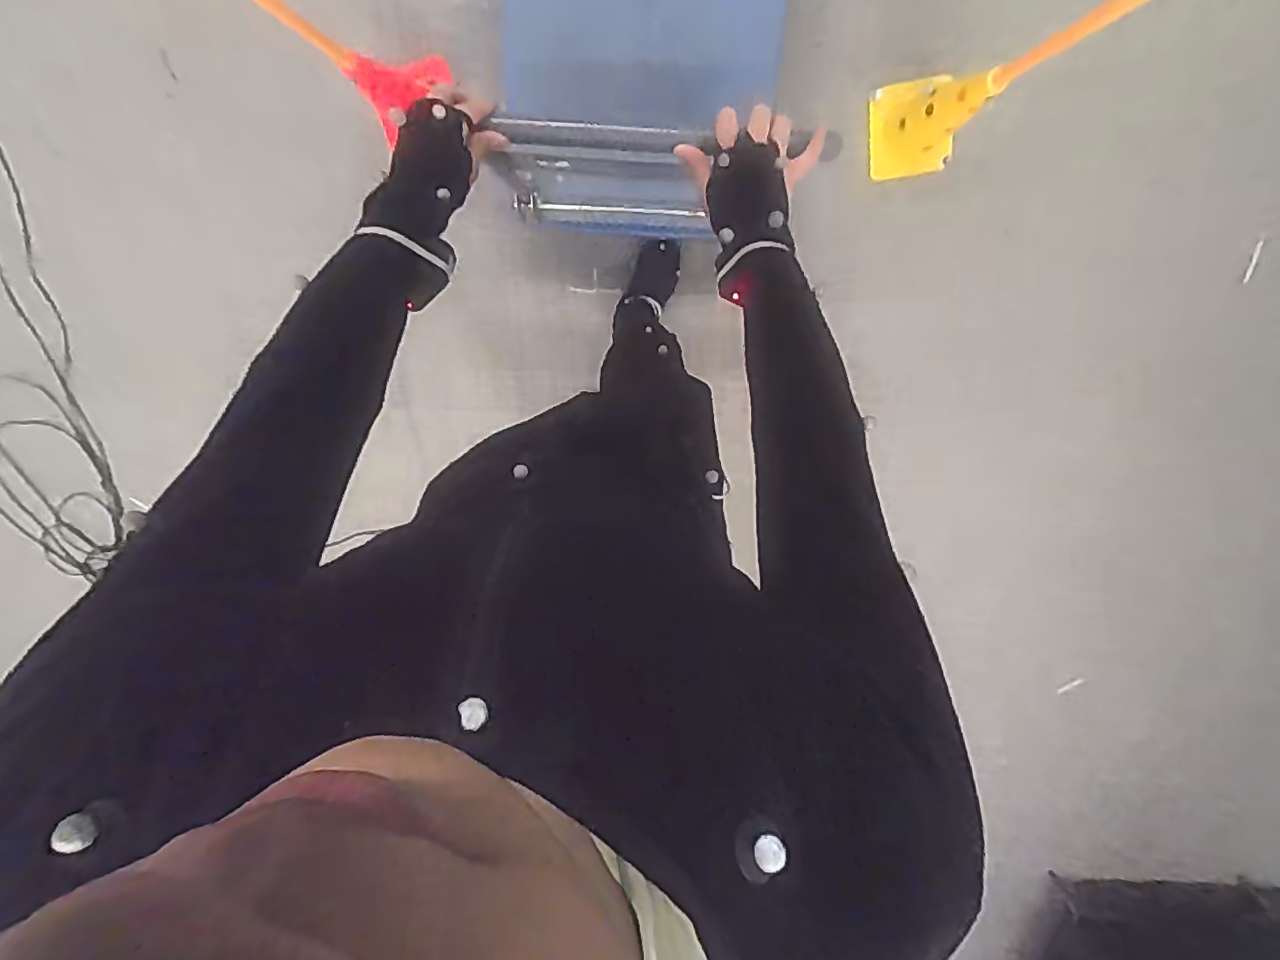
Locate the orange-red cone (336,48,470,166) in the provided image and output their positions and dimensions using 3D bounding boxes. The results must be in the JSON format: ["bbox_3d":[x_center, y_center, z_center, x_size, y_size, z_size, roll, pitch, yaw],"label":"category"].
[{"bbox_3d":[-0.529,-0.820,1.141,0.199,0.360,0.198,-11,110,6],"label":"orange-red cone"}]
